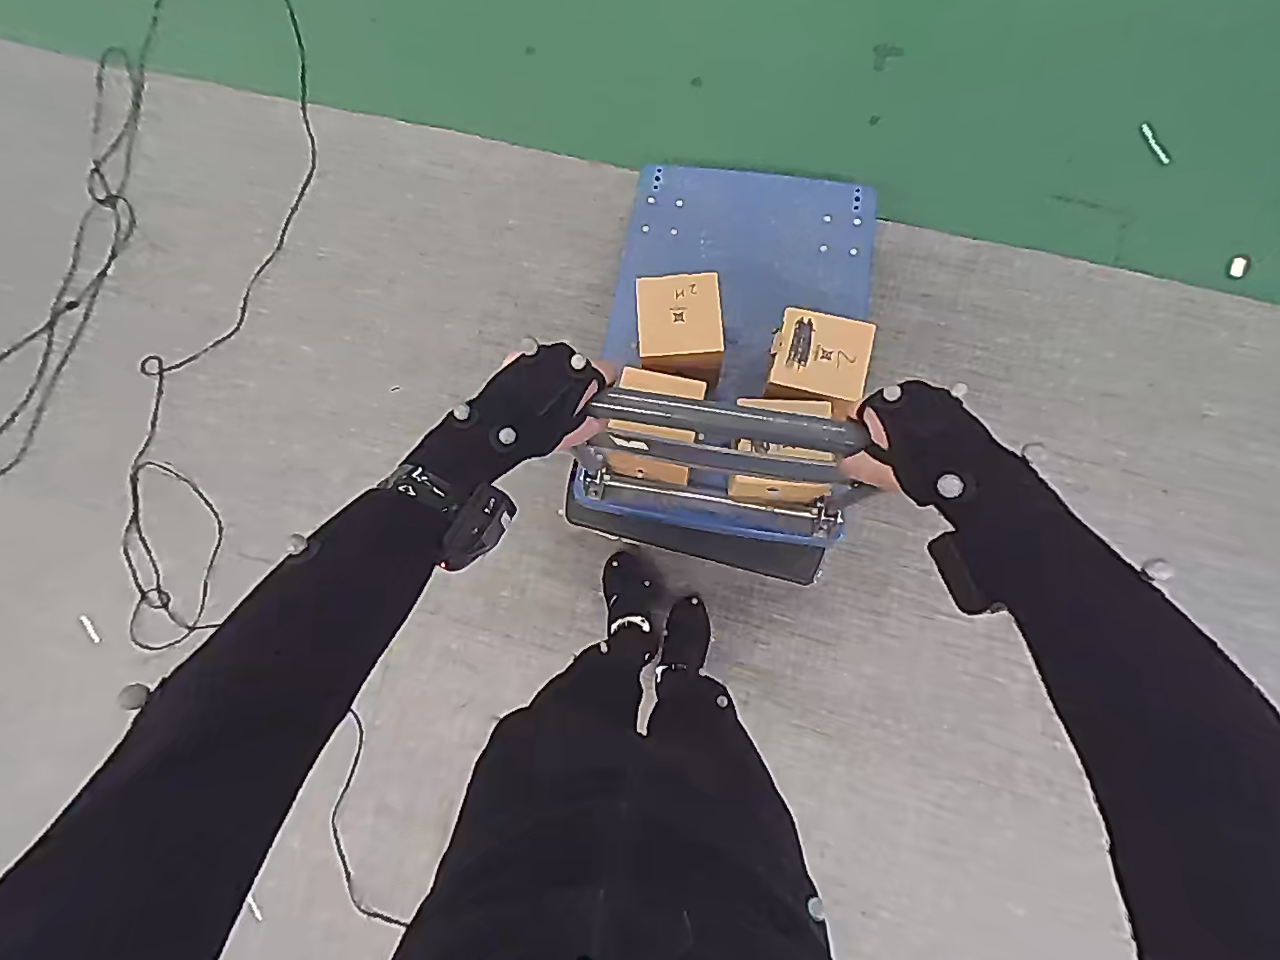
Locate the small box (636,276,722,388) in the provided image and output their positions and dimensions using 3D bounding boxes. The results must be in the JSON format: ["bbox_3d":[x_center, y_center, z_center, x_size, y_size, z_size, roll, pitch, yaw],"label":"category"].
[{"bbox_3d":[0.081,-0.302,1.140,0.168,0.176,0.179,-3,76,2],"label":"small box"}]
